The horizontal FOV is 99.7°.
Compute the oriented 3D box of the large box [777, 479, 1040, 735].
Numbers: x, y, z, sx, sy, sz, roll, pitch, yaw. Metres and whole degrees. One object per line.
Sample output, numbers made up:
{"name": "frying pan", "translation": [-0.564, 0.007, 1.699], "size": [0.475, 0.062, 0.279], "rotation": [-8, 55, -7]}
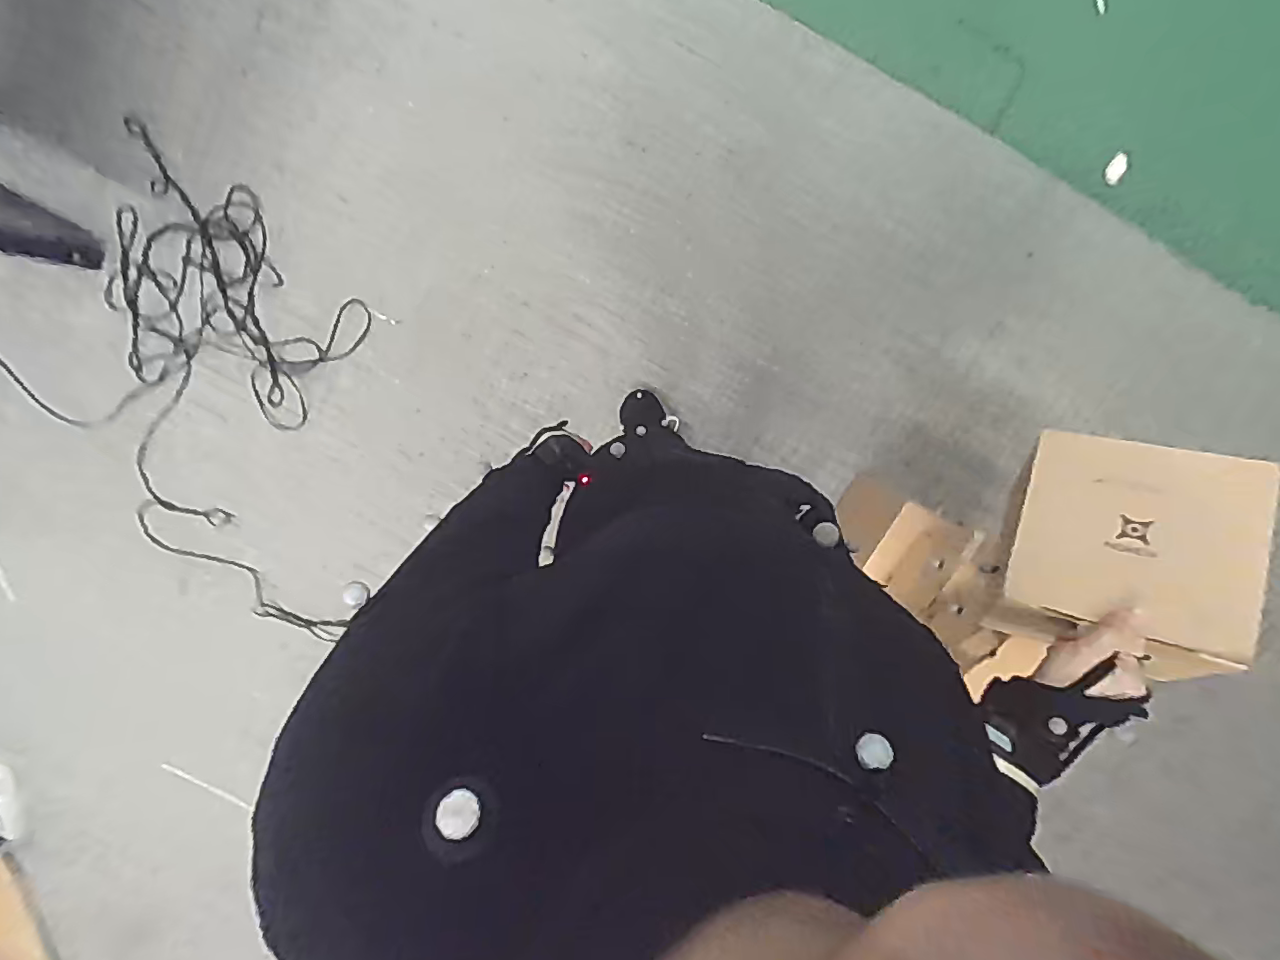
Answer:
{"name": "large box", "translation": [0.563, 0.260, 1.221], "size": [0.320, 0.320, 0.408], "rotation": [29, 102, 0]}

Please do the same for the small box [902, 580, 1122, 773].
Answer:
{"name": "small box", "translation": [0.539, 0.281, 0.812], "size": [0.179, 0.176, 0.168], "rotation": [43, 101, -4]}
